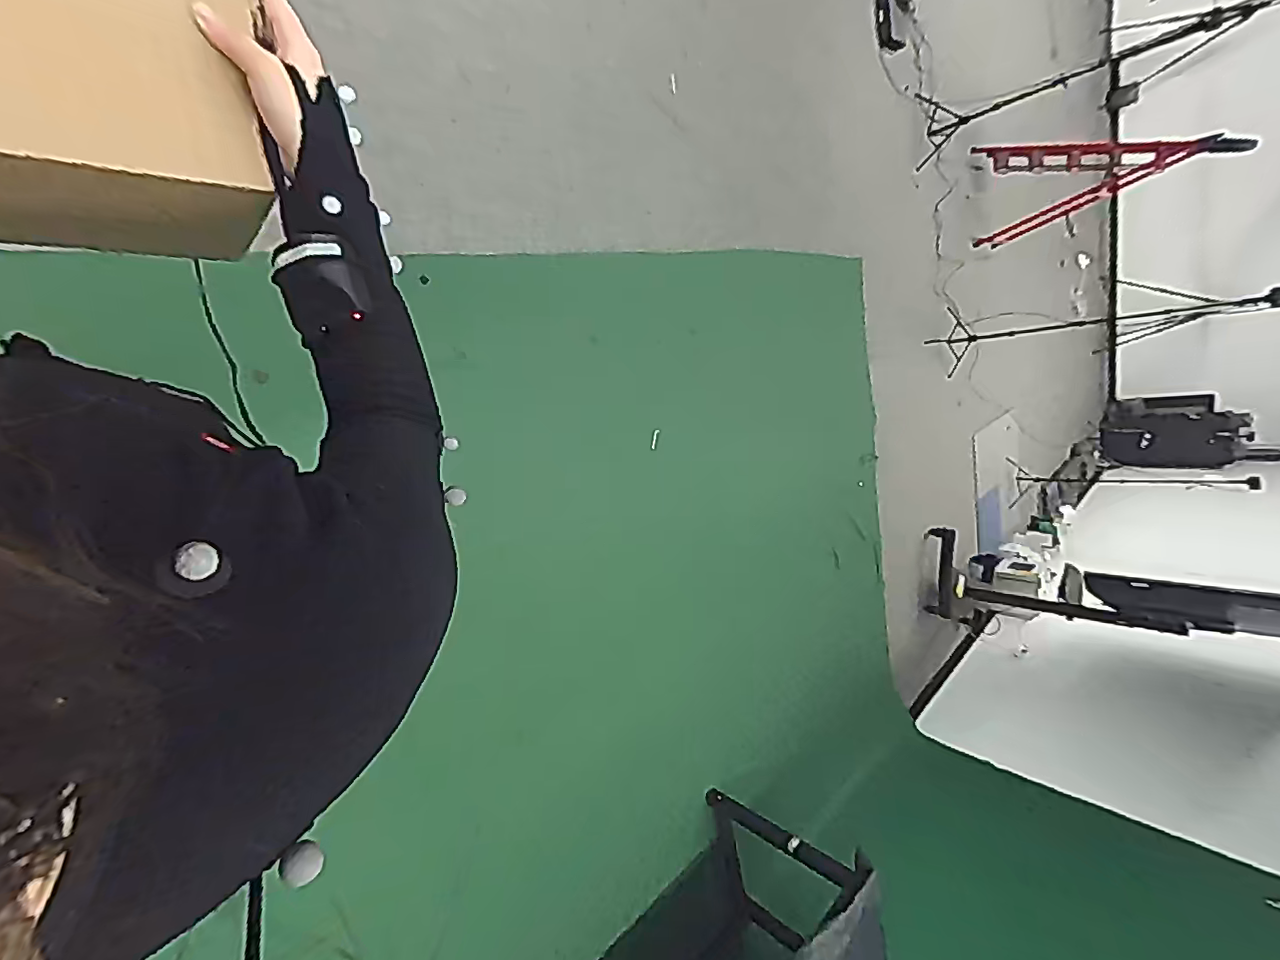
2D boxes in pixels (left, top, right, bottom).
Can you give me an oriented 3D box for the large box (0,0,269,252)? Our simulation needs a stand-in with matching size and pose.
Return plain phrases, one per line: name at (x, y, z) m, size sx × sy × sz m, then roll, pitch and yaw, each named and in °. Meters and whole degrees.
large box at (-0.545, -0.362, 0.389) m, size 0.408 × 0.320 × 0.320 m, roll -12°, pitch 105°, yaw -38°
